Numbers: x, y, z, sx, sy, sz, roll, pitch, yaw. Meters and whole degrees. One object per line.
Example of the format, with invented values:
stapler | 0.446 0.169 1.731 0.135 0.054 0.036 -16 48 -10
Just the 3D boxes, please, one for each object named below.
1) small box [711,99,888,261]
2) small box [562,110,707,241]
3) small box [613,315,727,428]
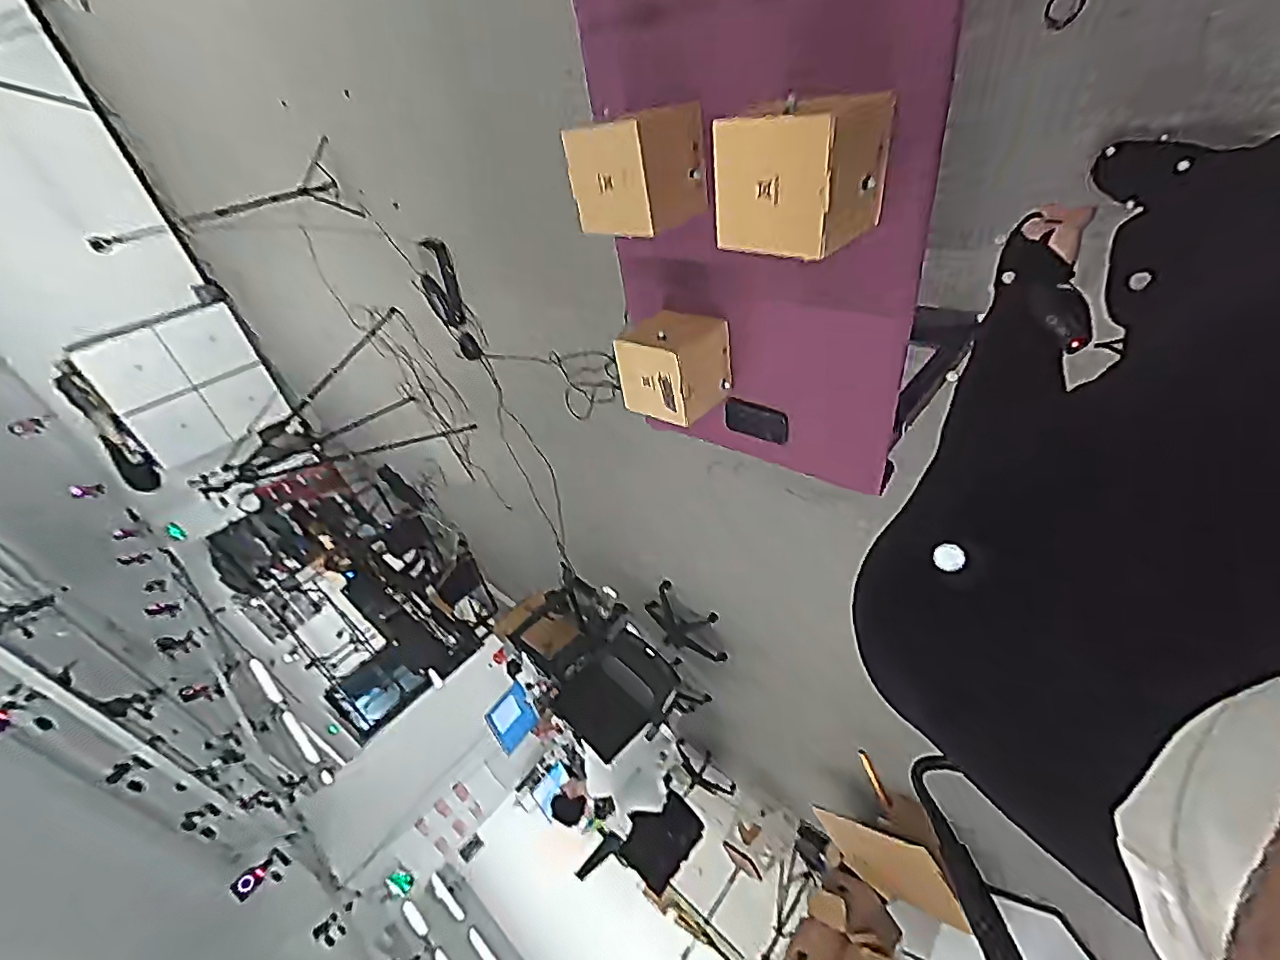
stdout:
small box | 0.223 -0.429 0.771 0.179 0.176 0.168 25 139 36
small box | -0.004 -0.534 0.949 0.179 0.176 0.168 22 138 37
small box | 0.072 -0.236 1.148 0.179 0.176 0.168 23 138 38
